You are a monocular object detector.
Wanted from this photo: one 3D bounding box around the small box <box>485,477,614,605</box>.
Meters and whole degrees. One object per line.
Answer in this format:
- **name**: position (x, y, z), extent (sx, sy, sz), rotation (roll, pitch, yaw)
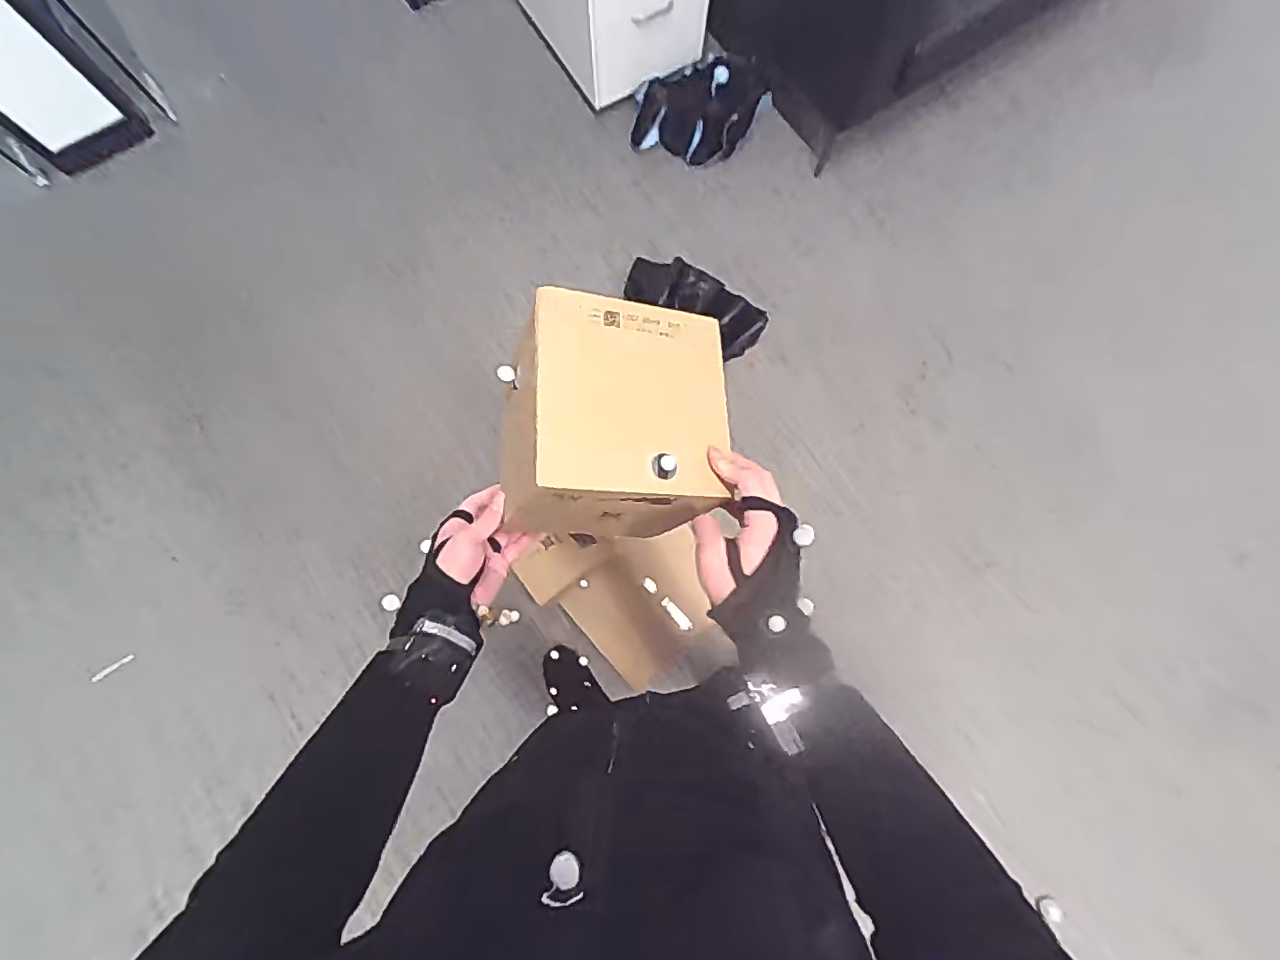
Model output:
- **small box**: position (-0.163, 0.121, 1.042), extent (0.179, 0.176, 0.168), rotation (-37, 80, -6)
